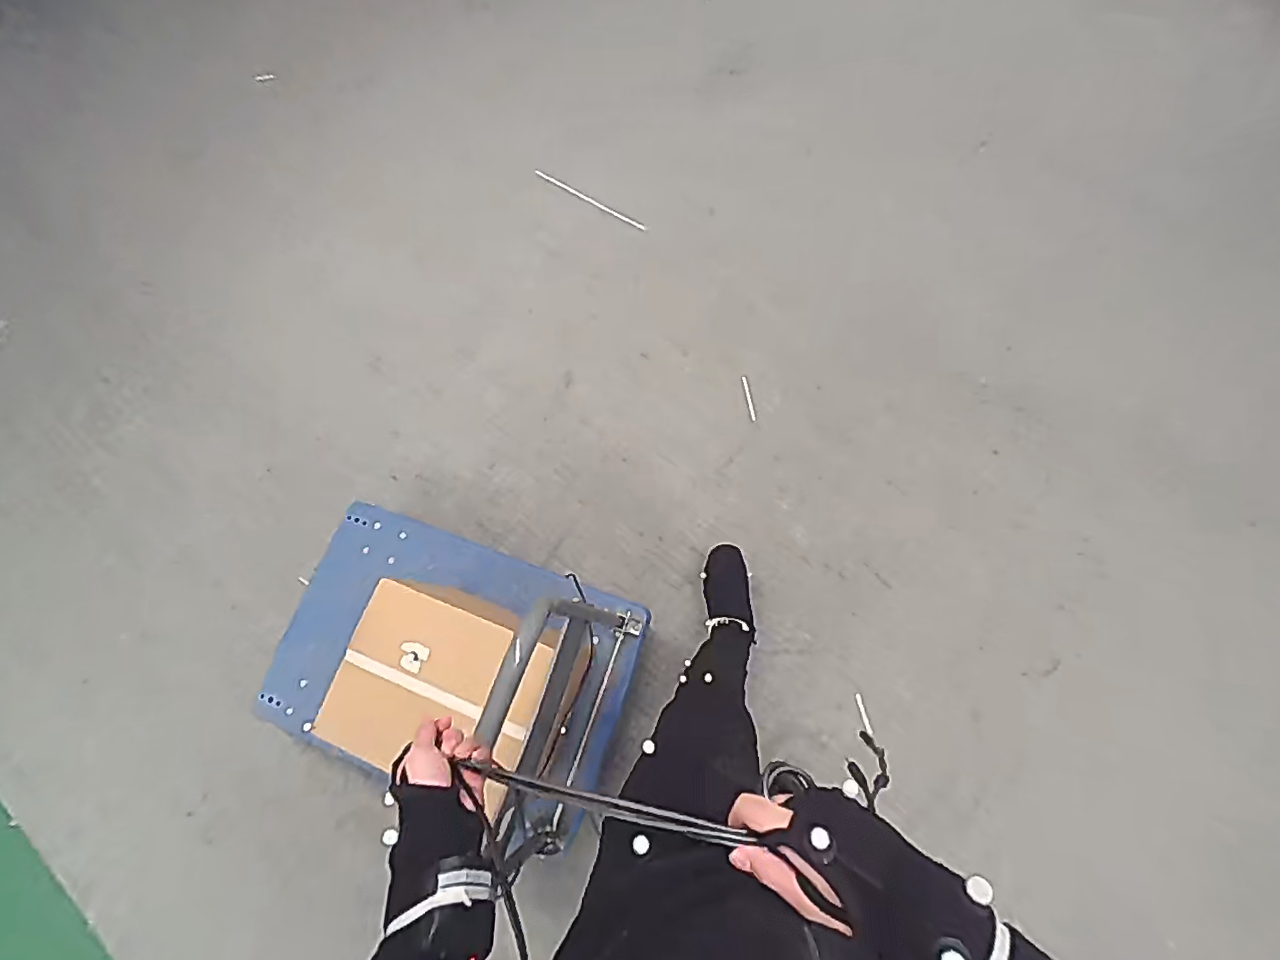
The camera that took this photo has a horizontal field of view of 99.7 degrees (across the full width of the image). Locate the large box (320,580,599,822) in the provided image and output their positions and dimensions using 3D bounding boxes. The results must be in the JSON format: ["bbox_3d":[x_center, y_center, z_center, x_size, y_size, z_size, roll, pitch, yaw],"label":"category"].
[{"bbox_3d":[-0.345,0.431,1.140,0.408,0.320,0.320,19,78,12],"label":"large box"}]
